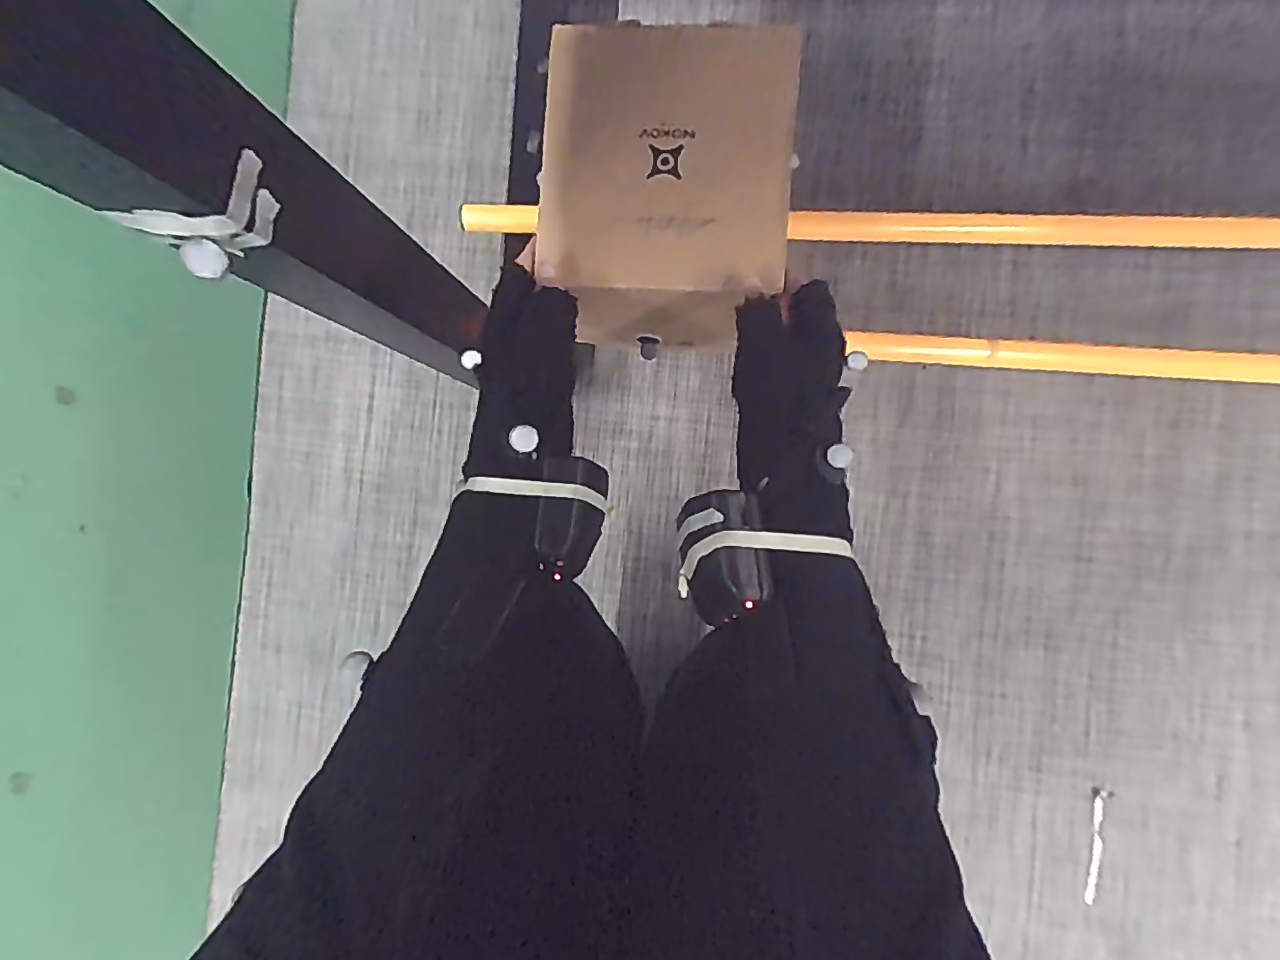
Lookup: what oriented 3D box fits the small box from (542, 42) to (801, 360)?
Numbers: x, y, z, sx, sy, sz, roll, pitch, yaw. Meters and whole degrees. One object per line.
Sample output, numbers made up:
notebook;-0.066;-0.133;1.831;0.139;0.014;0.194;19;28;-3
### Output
small box;0.026;-0.205;0.440;0.168;0.176;0.179;3;91;5
